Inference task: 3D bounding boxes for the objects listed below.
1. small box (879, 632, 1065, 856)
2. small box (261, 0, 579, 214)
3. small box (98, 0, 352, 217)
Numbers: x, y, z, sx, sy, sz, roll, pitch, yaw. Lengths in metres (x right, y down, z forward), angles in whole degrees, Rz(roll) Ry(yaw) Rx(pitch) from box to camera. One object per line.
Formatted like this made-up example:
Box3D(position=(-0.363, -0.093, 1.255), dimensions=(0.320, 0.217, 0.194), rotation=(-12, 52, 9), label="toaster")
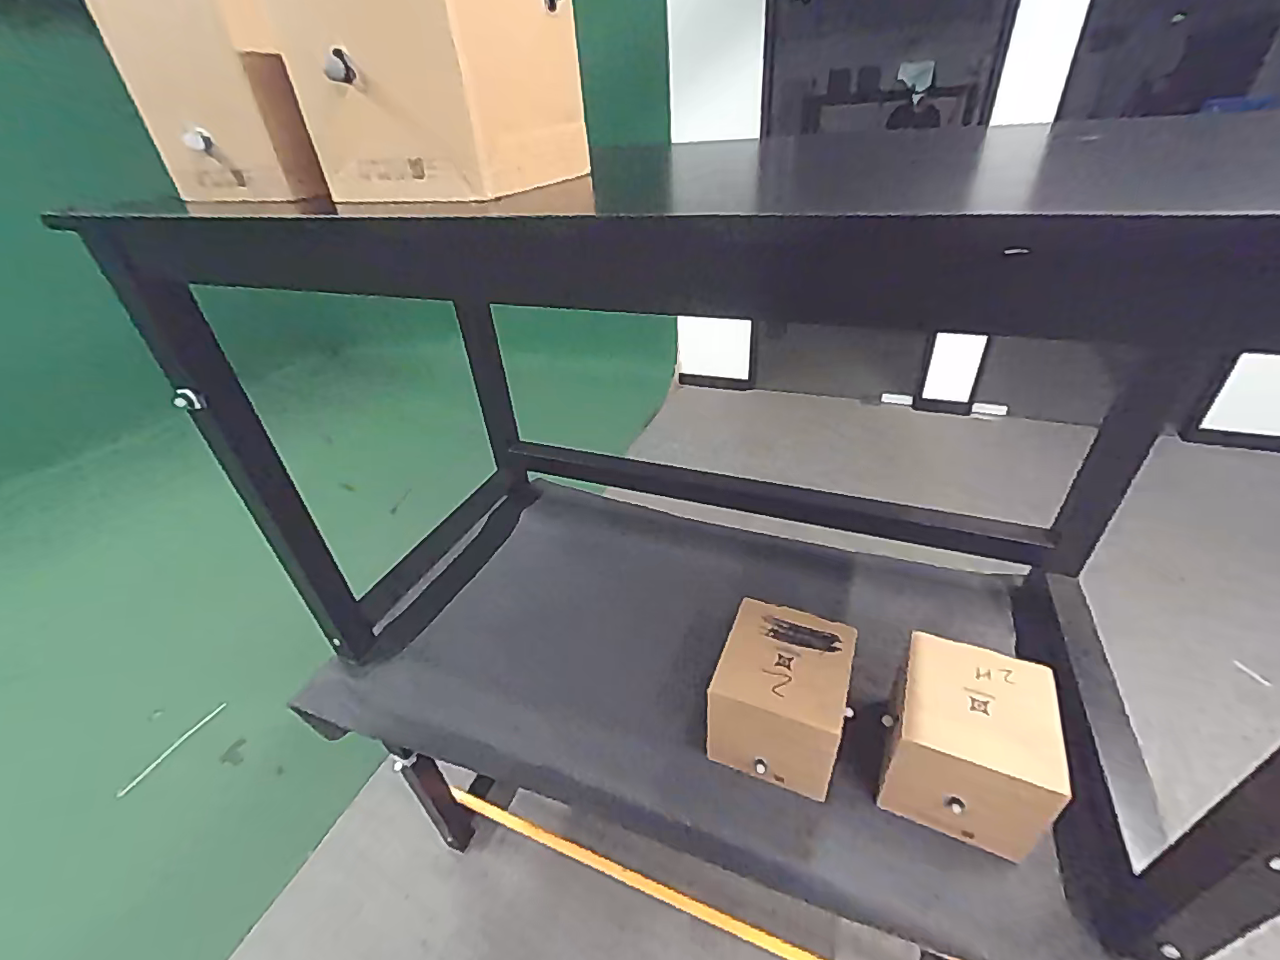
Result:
Box3D(position=(0.416, 0.338, 0.701), dimensions=(0.168, 0.176, 0.179), rotation=(12, 37, 24), label="small box")
Box3D(position=(-0.166, -0.333, 0.467), dimensions=(0.168, 0.176, 0.179), rotation=(11, 37, 22), label="small box")
Box3D(position=(-0.368, -0.380, 0.556), dimensions=(0.168, 0.176, 0.179), rotation=(11, 38, 21), label="small box")
